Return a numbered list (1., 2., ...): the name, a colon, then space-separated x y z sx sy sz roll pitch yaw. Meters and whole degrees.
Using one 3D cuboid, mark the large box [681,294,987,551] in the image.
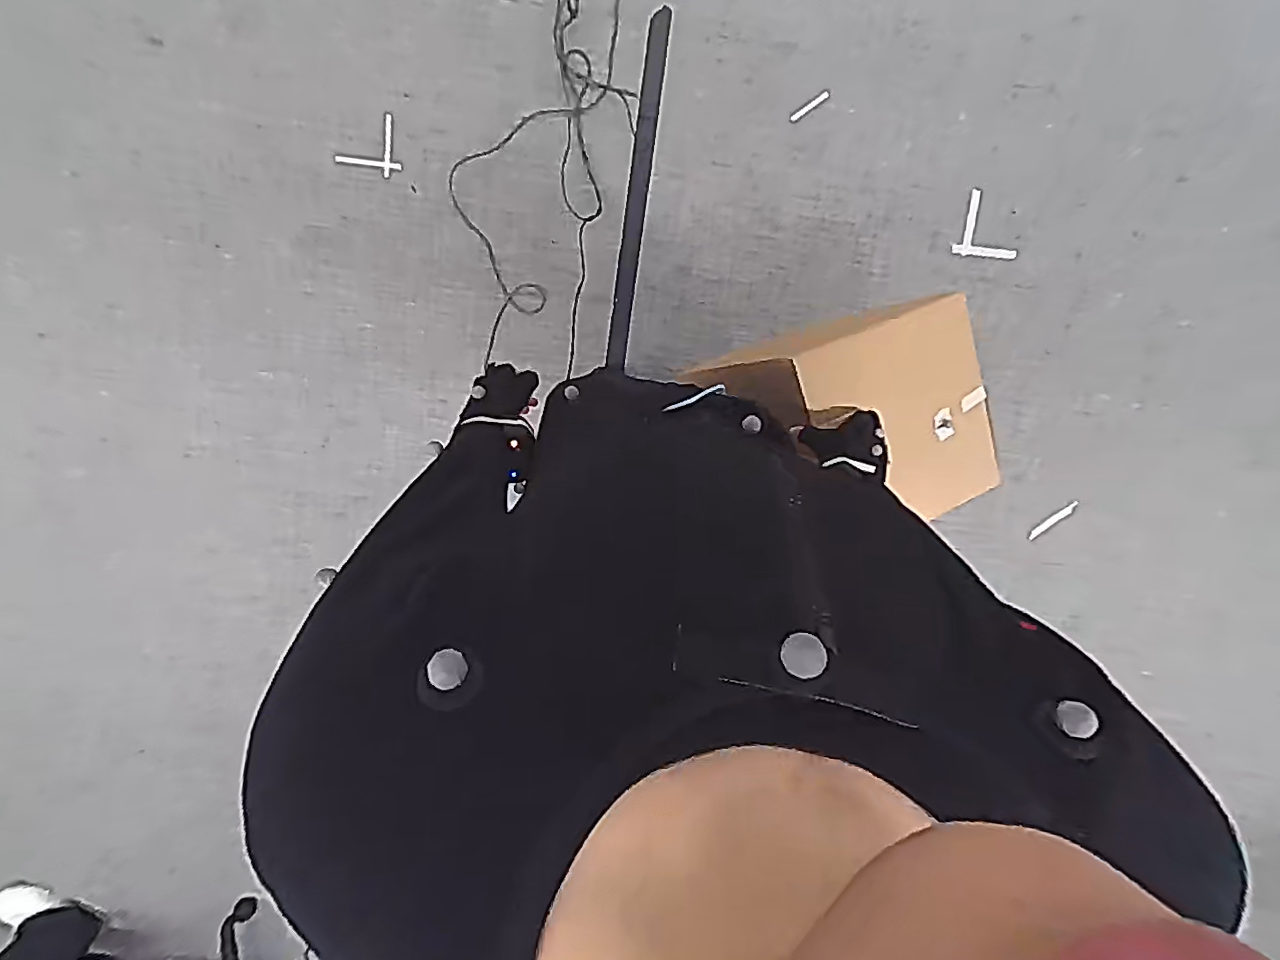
1. large box: 0.324 -0.110 0.991 0.320 0.408 0.320 -22 103 -13
